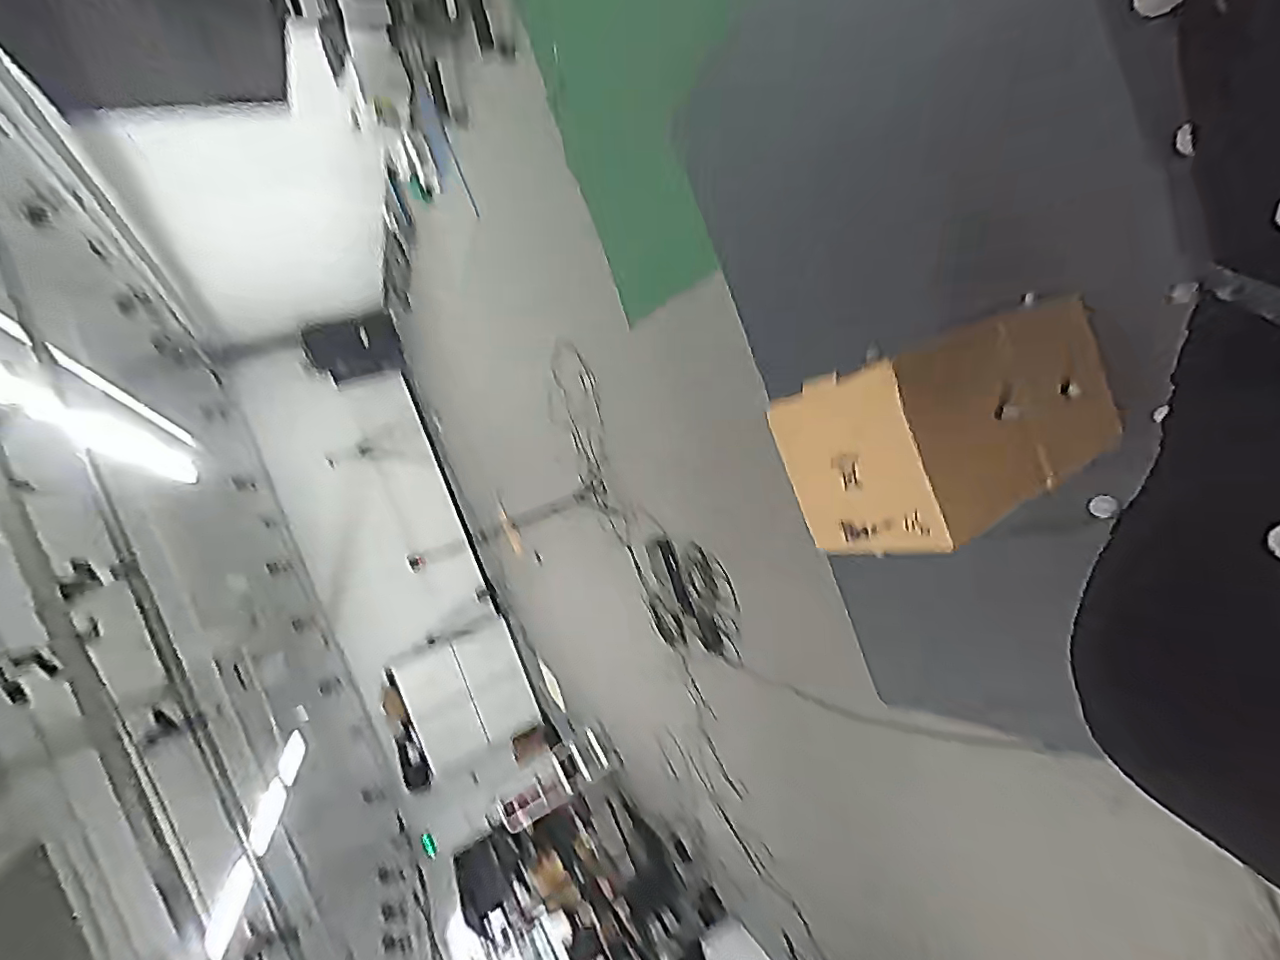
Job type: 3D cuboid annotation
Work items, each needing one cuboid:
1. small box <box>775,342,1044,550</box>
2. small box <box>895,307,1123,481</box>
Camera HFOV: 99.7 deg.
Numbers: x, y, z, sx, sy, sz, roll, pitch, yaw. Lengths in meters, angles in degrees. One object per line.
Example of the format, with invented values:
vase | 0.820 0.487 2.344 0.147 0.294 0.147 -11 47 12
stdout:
small box | 0.284 -0.036 0.581 0.168 0.176 0.179 -17 94 64
small box | 0.422 -0.092 0.648 0.168 0.176 0.179 -24 86 64
